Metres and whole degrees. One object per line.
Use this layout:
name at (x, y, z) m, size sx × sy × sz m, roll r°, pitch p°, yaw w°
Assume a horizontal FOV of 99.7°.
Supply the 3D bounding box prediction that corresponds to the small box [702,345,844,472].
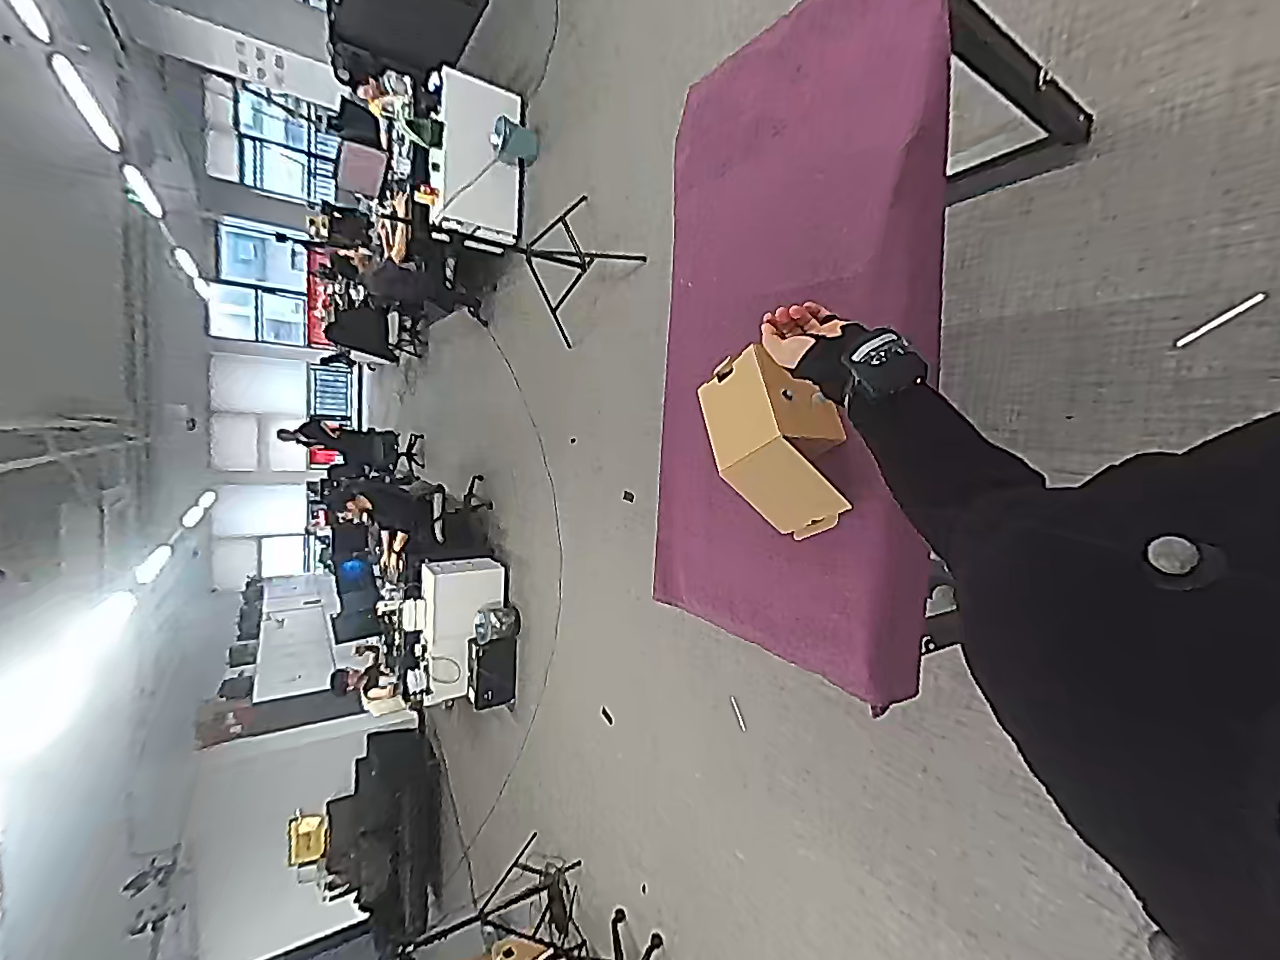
small box at (0.243, -0.123, 0.991) m, size 0.168 × 0.176 × 0.179 m, roll -36°, pitch 60°, yaw 52°
